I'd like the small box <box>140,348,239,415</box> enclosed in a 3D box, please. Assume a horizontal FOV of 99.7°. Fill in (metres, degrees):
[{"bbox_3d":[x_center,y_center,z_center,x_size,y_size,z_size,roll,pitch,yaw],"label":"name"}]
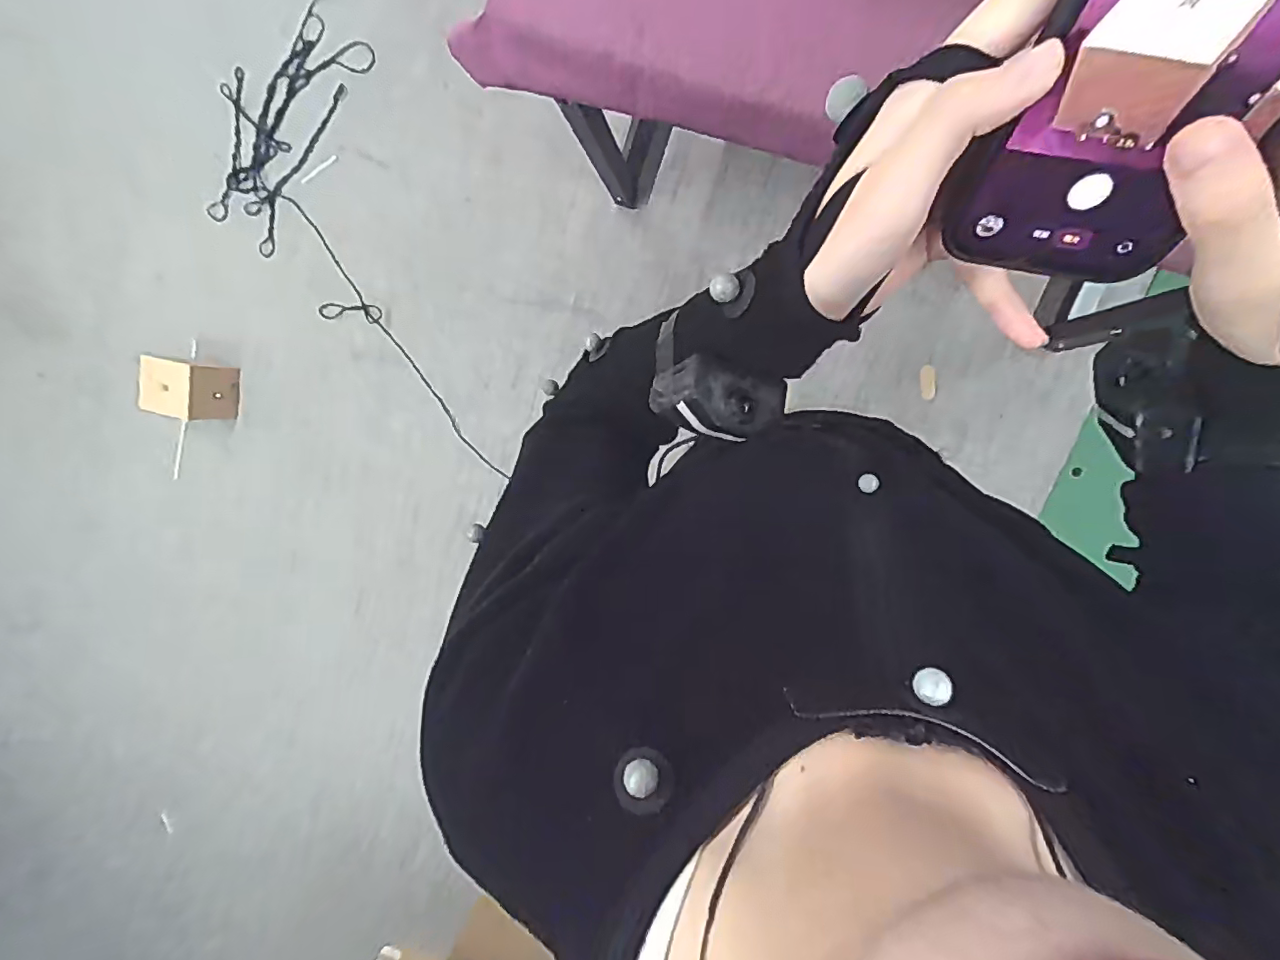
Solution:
[{"bbox_3d":[-1.386,-0.303,1.671,0.179,0.176,0.168,13,100,9],"label":"small box"}]
